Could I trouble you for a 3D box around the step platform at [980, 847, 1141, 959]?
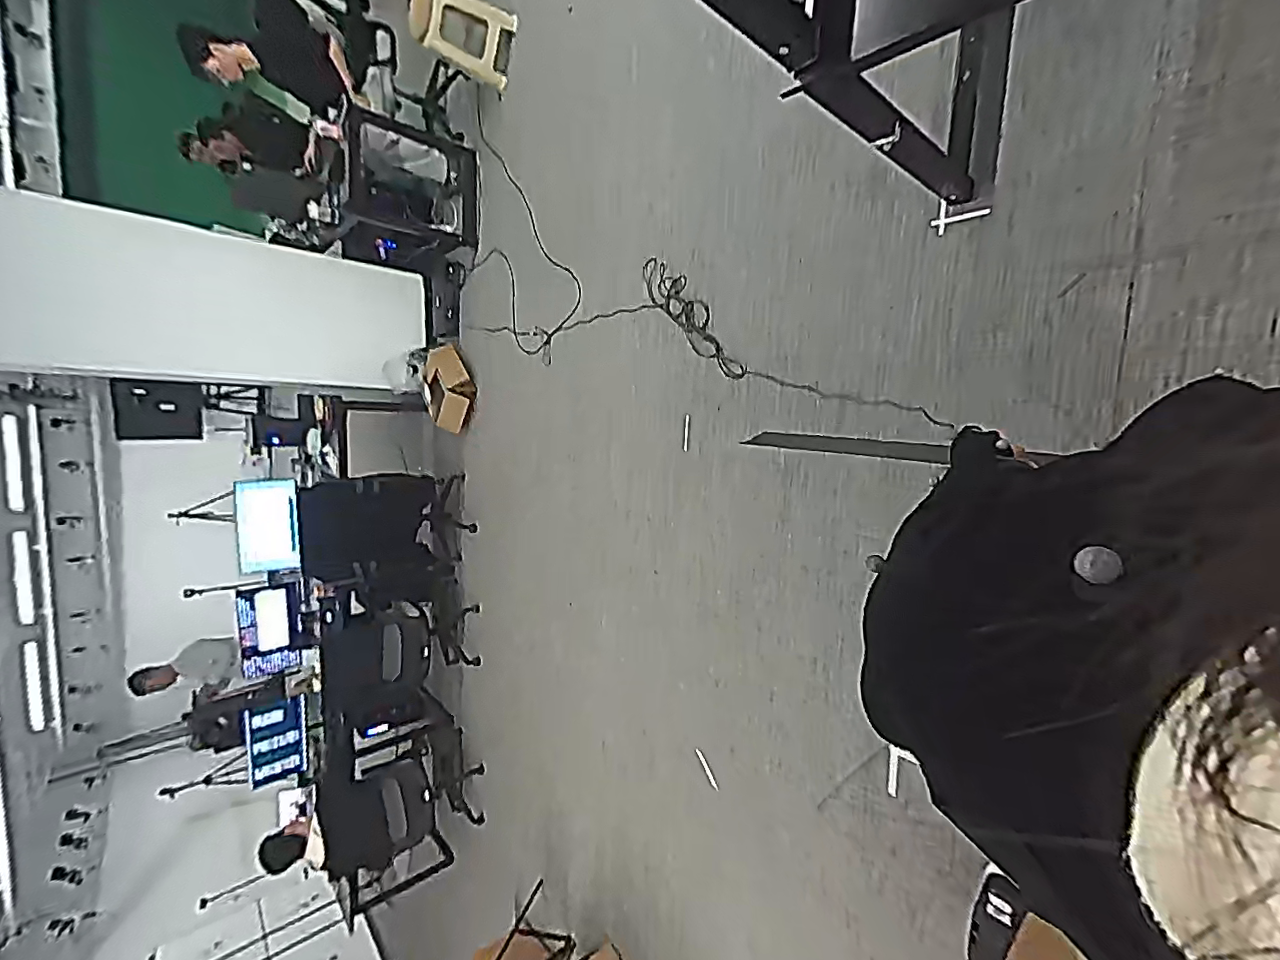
[{"bbox_3d":[1.062,1.091,1.045,0.684,0.204,0.286,19,106,46],"label":"step platform"}]
